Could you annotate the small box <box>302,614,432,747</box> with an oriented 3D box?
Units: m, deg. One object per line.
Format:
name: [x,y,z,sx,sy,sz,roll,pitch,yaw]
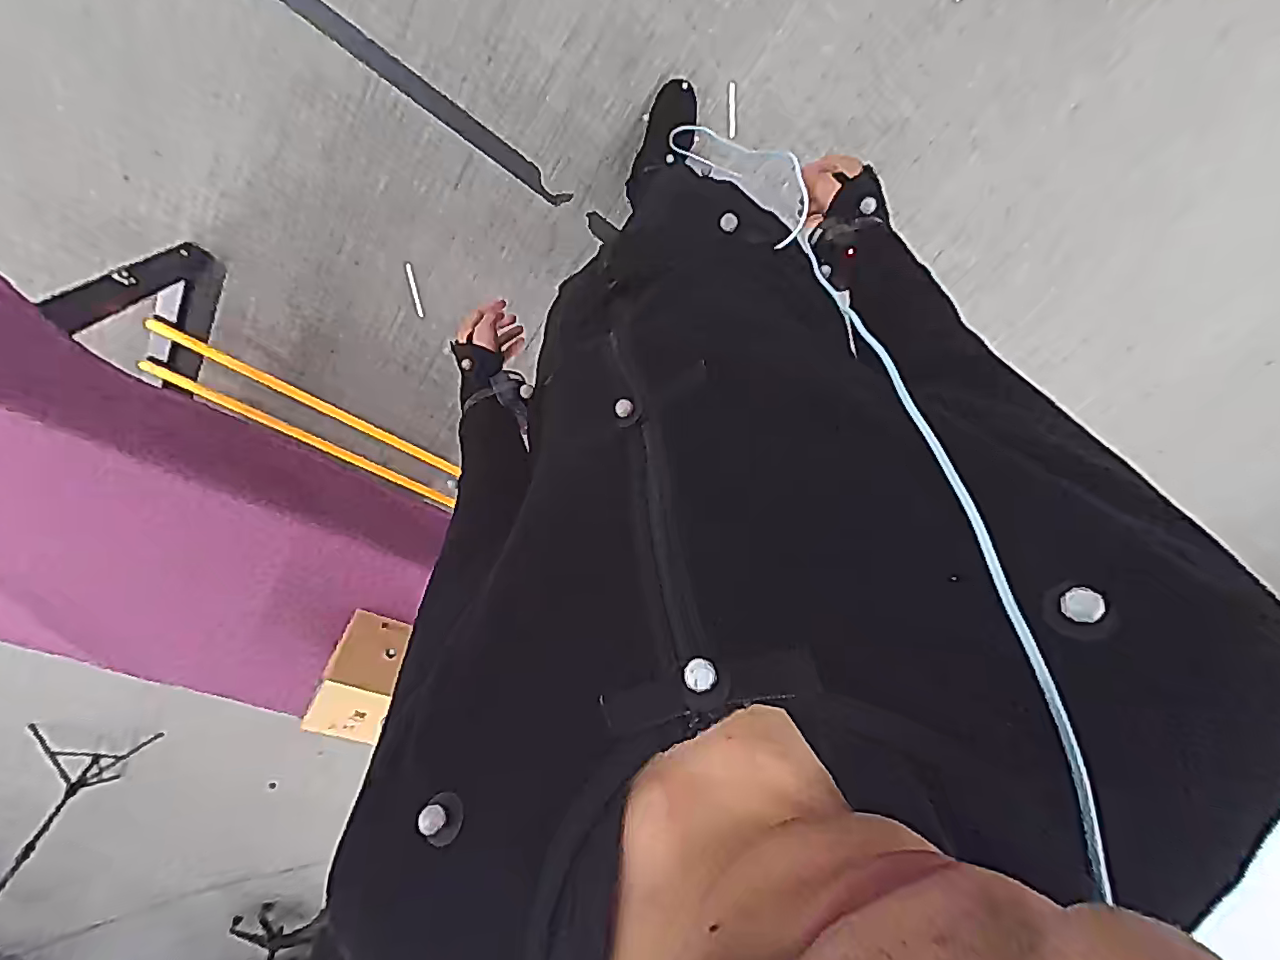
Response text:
small box: [-0.538,0.399,1.087,0.168,0.176,0.179,27,120,-22]
